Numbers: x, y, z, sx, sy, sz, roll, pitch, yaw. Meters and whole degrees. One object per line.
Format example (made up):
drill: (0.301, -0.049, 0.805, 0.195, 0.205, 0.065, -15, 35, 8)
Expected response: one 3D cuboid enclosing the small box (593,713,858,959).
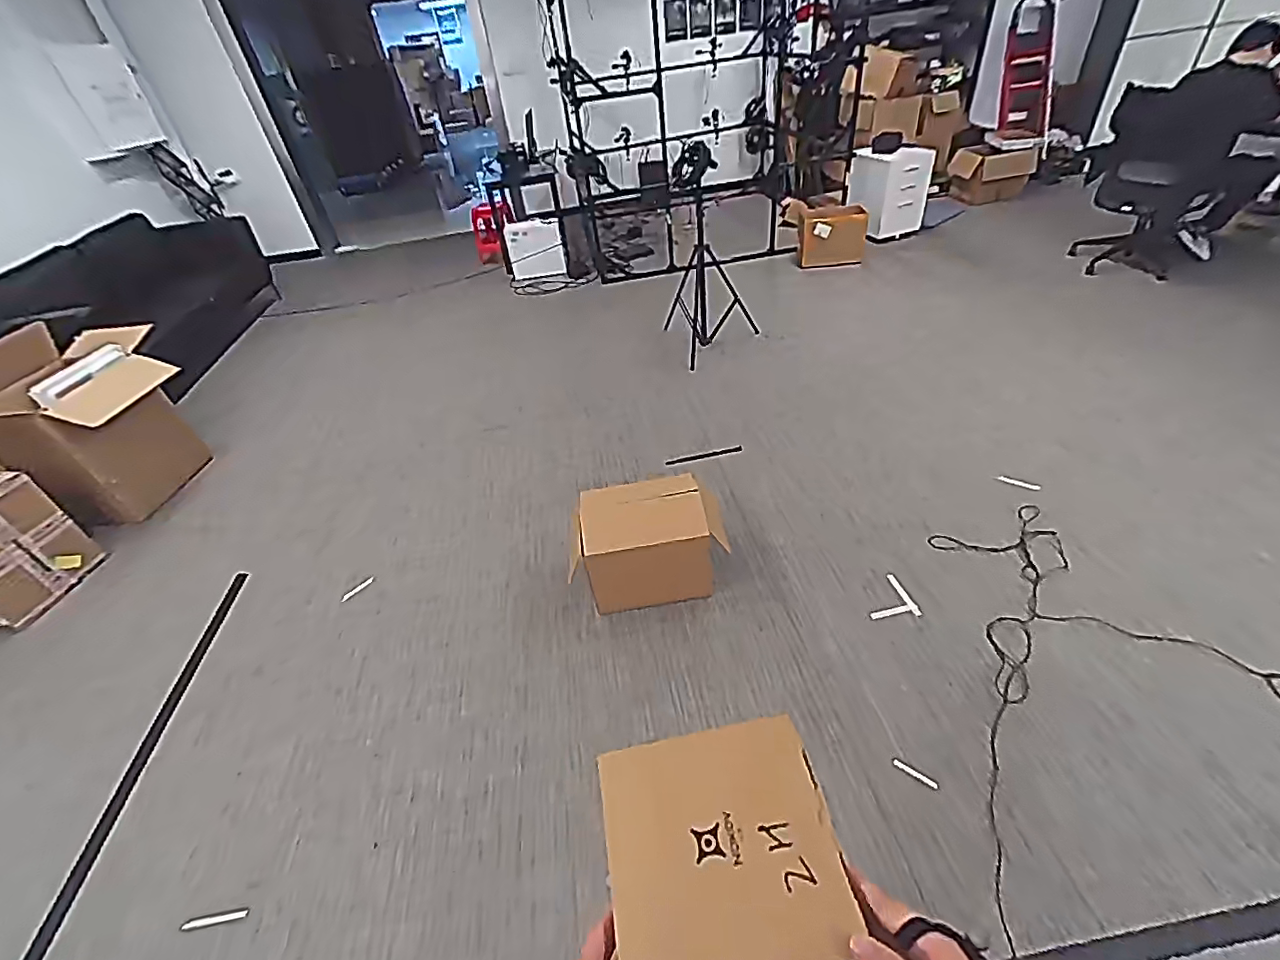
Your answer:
small box: (0.064, 0.335, 0.479, 0.179, 0.176, 0.168, -11, 45, -3)
